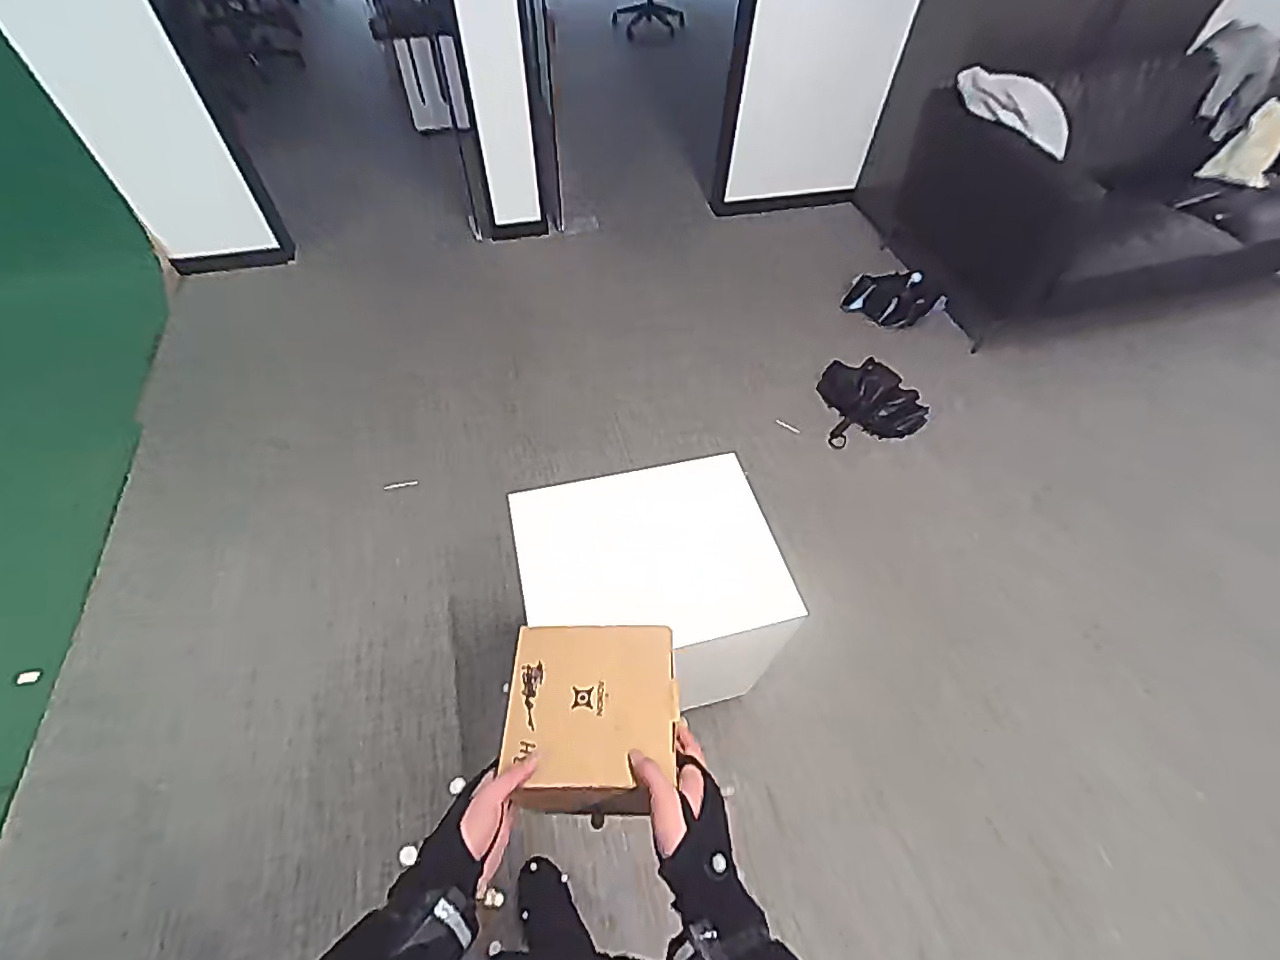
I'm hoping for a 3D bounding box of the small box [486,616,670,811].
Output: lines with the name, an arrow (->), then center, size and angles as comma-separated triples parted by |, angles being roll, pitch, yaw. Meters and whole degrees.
small box -> -0.057, 0.271, 0.623 | 0.179, 0.176, 0.168 | 1, 50, 1
